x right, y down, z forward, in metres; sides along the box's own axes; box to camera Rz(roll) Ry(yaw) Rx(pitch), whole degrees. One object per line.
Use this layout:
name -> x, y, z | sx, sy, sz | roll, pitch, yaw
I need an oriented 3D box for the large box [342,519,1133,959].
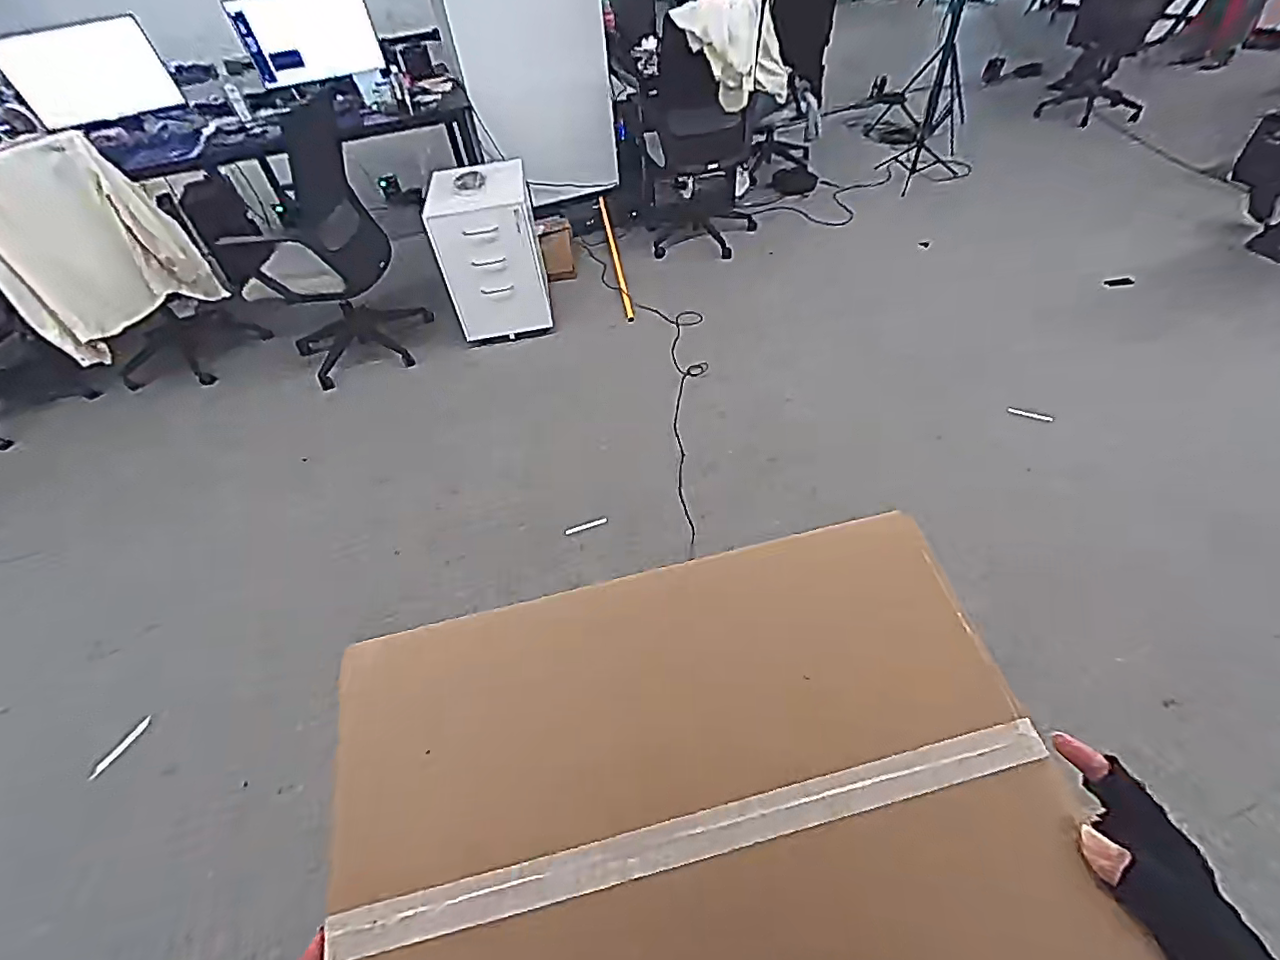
large box -> 0.040, 0.276, 0.438 | 0.408, 0.320, 0.320 | -14, 57, -4
